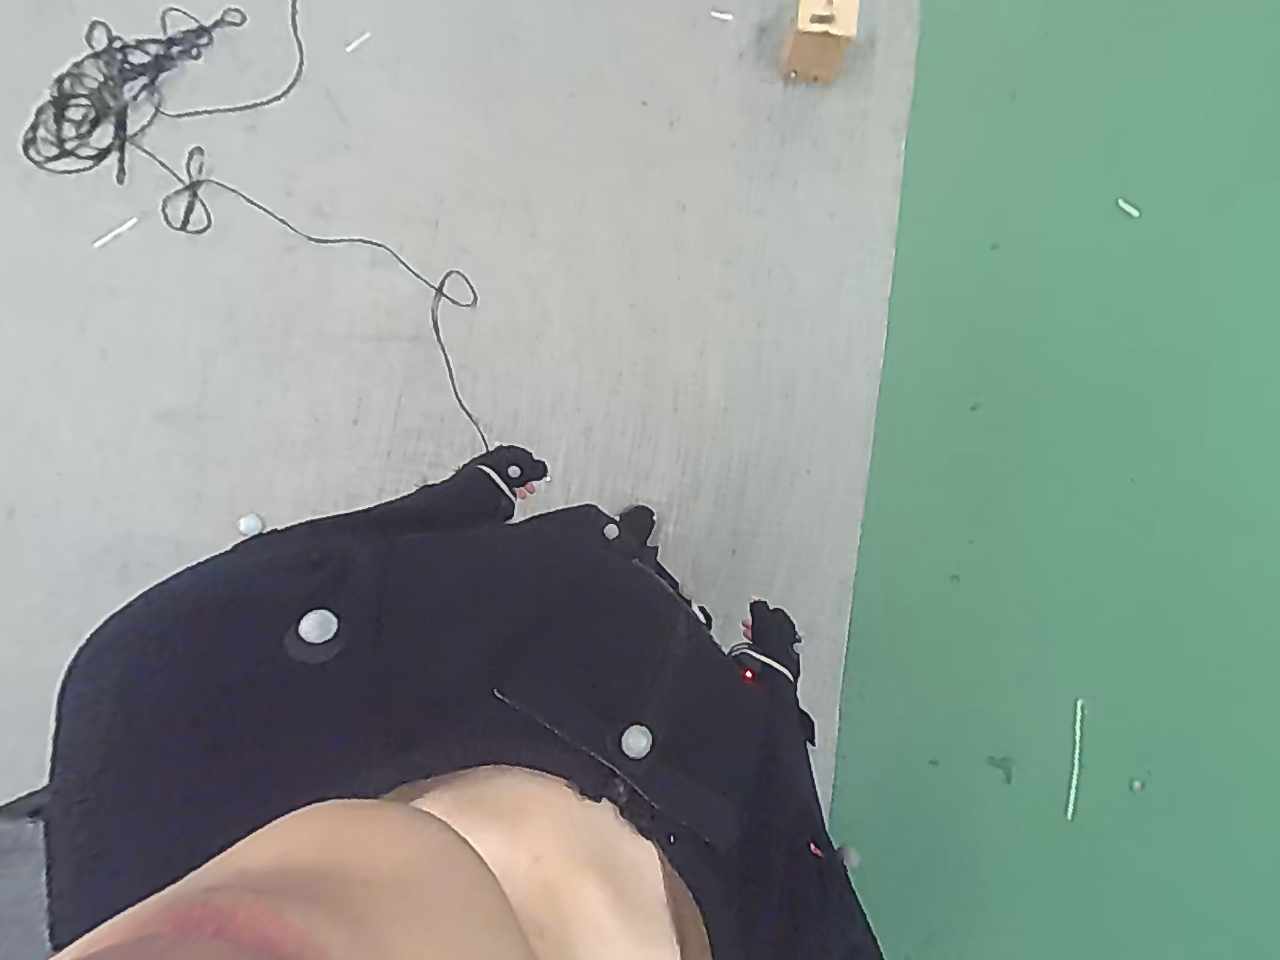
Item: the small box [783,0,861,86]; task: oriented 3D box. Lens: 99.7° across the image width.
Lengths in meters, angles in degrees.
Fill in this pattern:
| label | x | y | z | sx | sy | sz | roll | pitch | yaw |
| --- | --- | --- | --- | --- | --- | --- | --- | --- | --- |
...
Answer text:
| label | x | y | z | sx | sy | sz | roll | pitch | yaw |
| --- | --- | --- | --- | --- | --- | --- | --- | --- | --- |
| small box | 0.521 | -1.288 | 1.561 | 0.168 | 0.176 | 0.179 | 8 | 84 | -1 |
